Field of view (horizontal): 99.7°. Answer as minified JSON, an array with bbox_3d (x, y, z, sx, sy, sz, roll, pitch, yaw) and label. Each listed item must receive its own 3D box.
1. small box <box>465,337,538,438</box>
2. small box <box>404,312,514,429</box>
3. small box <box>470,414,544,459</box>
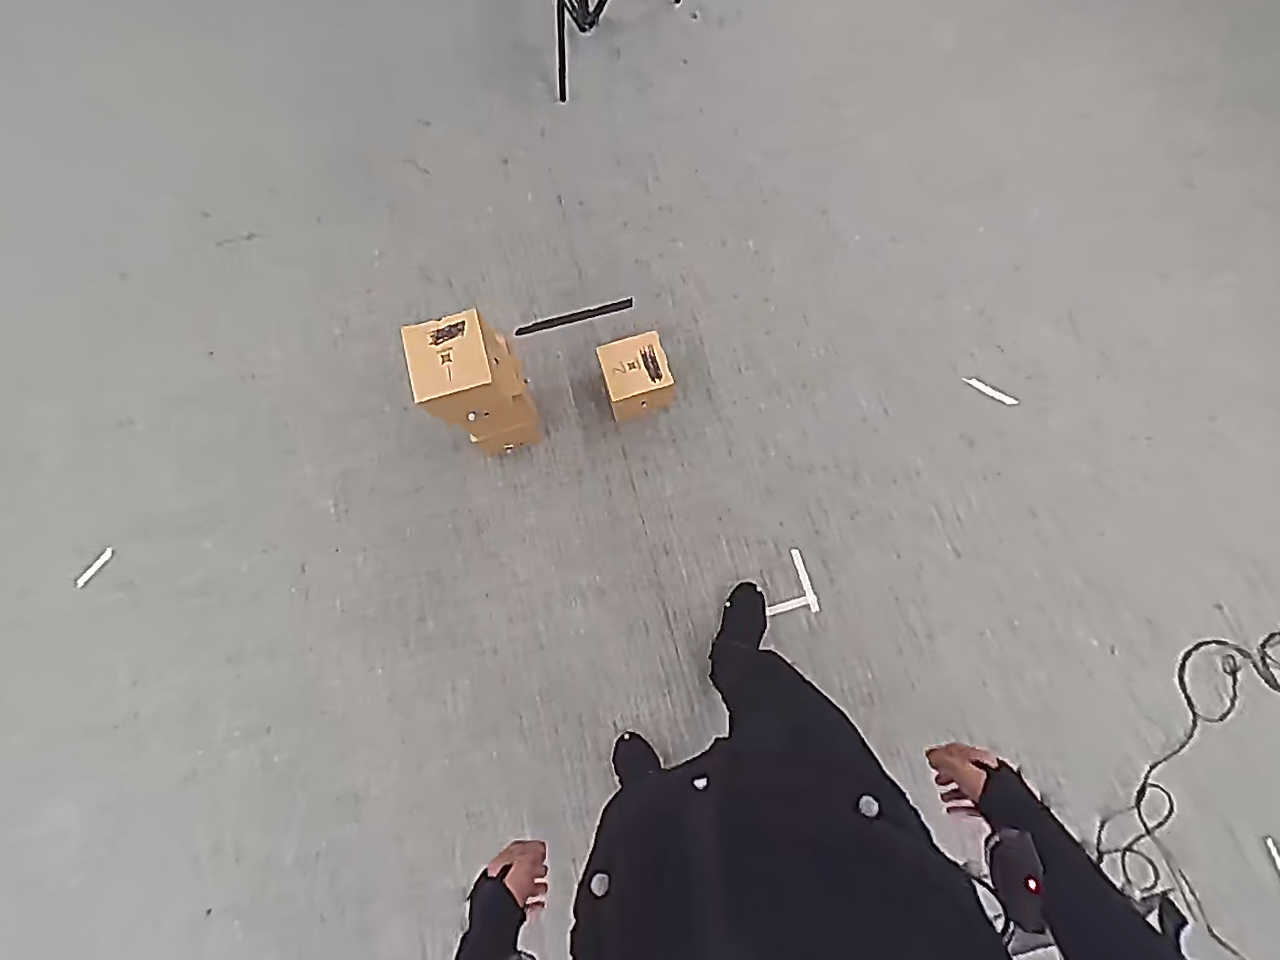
[{"bbox_3d":[-0.375,-0.223,1.352,0.179,0.176,0.168,-19,77,-2],"label":"small box"},{"bbox_3d":[-0.390,-0.233,1.186,0.168,0.176,0.179,-16,78,0],"label":"small box"},{"bbox_3d":[-0.381,-0.179,1.510,0.168,0.176,0.179,-18,77,-2],"label":"small box"}]
